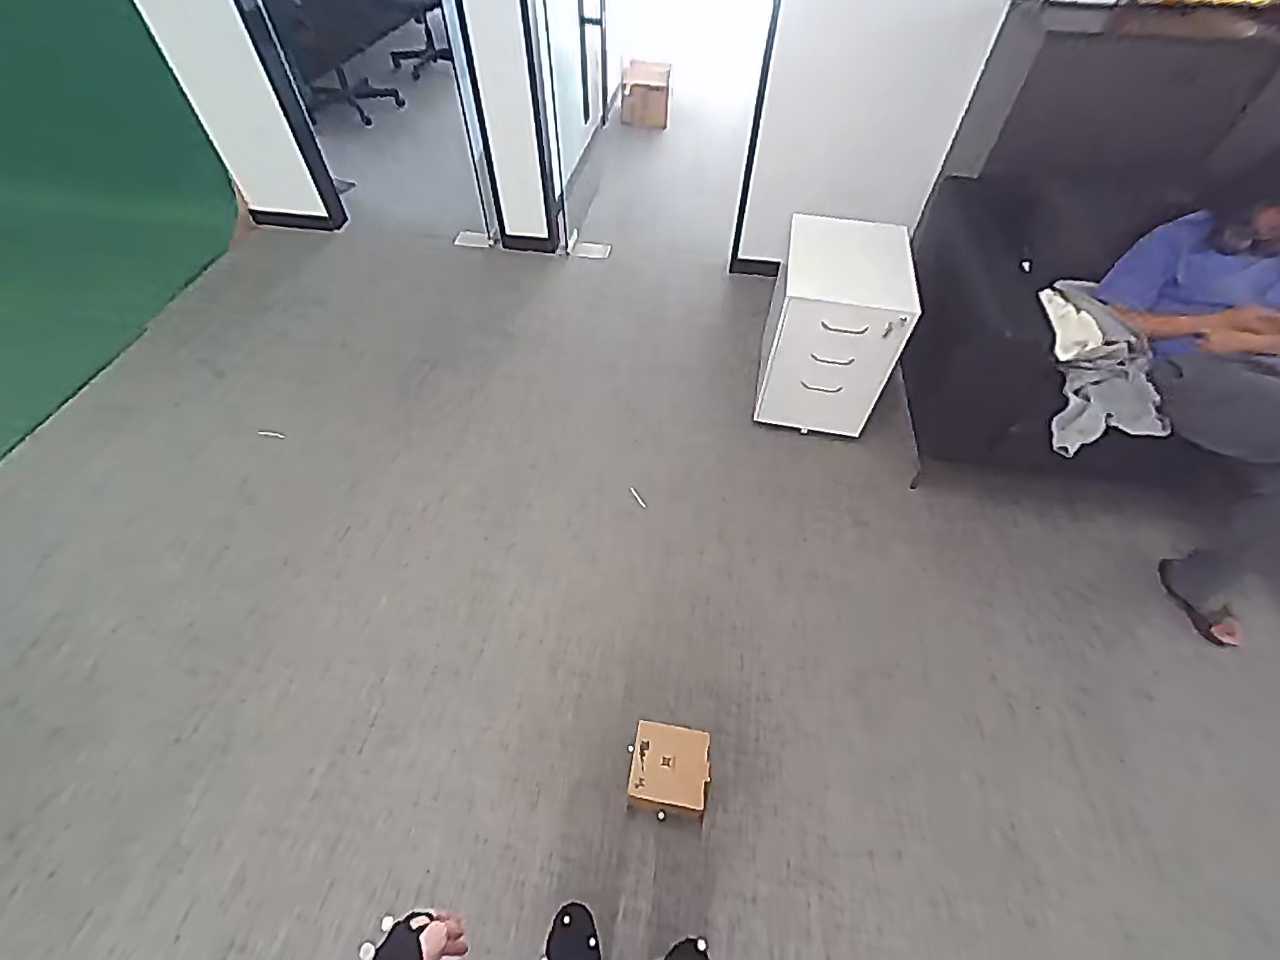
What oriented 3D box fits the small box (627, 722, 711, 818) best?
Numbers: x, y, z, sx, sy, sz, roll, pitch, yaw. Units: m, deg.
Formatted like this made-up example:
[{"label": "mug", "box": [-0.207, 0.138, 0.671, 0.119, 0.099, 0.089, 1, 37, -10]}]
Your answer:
[{"label": "small box", "box": [0.069, 0.711, 1.319, 0.179, 0.176, 0.168, 9, 52, 4]}]
